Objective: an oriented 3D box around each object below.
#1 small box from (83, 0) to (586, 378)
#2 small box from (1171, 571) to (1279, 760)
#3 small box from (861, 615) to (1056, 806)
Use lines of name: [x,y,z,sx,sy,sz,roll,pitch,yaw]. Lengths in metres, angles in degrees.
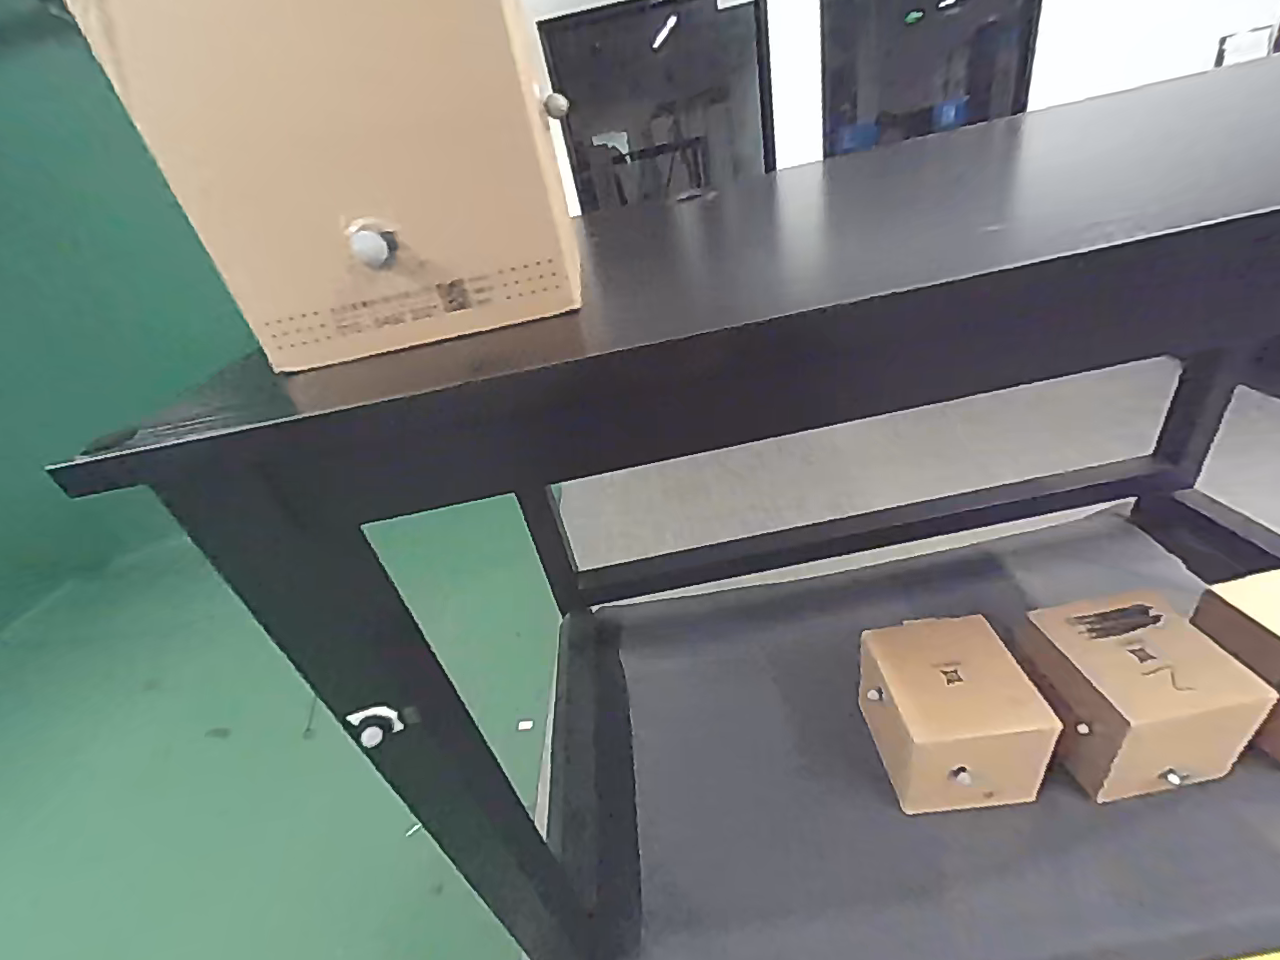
small box: [-0.131,-0.177,0.317,0.168,0.176,0.179,-12,32,1]
small box: [0.852,0.238,0.687,0.168,0.176,0.179,-13,31,1]
small box: [0.413,0.316,0.735,0.168,0.176,0.179,-10,31,5]
